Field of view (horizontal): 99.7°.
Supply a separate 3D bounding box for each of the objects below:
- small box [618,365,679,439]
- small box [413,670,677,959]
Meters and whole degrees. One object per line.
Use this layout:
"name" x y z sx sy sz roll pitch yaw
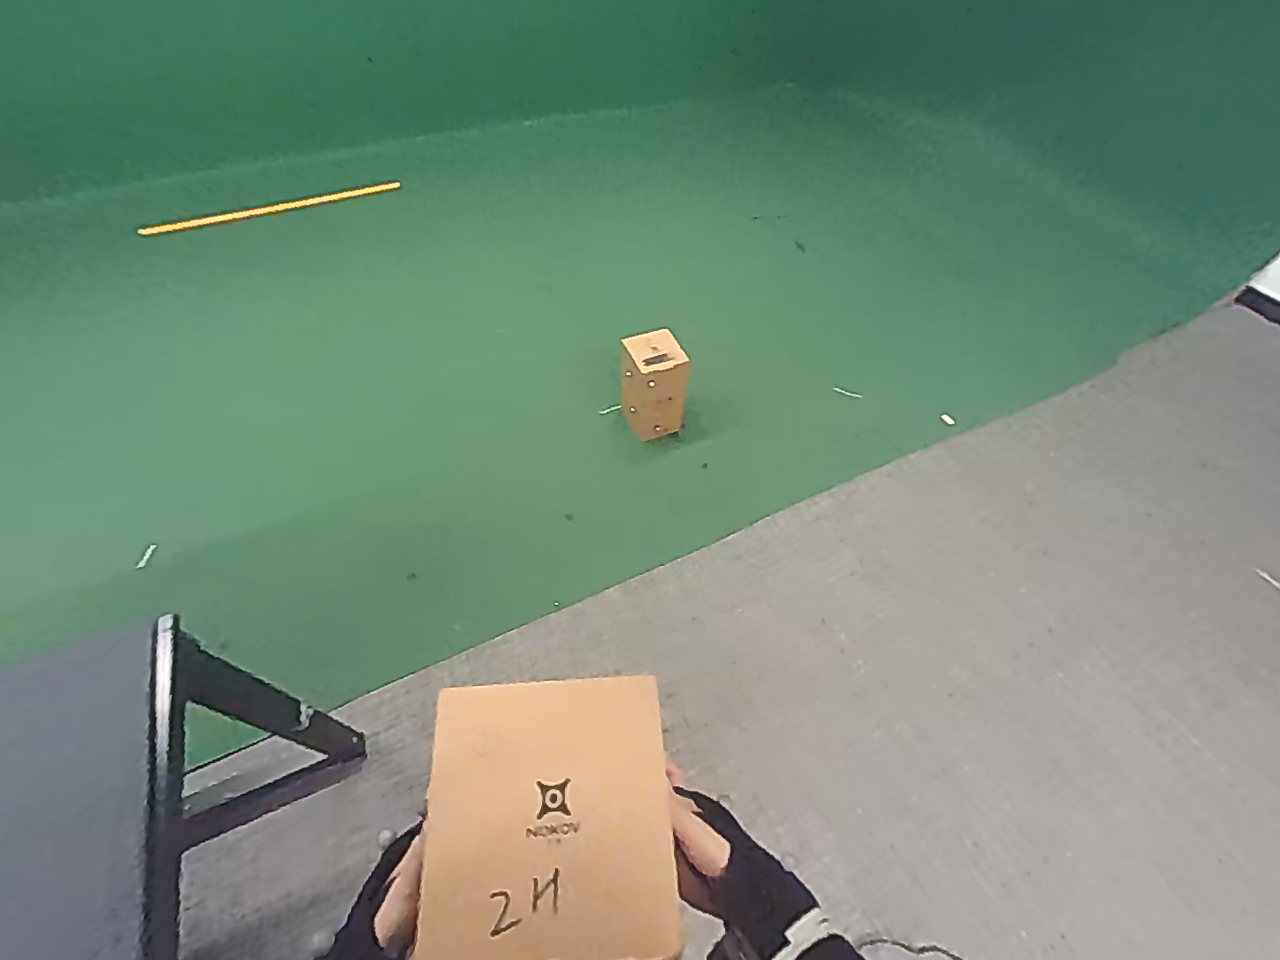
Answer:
"small box" 0.022 -0.275 1.927 0.168 0.176 0.179 -18 57 -15
"small box" -0.073 0.267 0.444 0.168 0.176 0.179 0 60 -9
